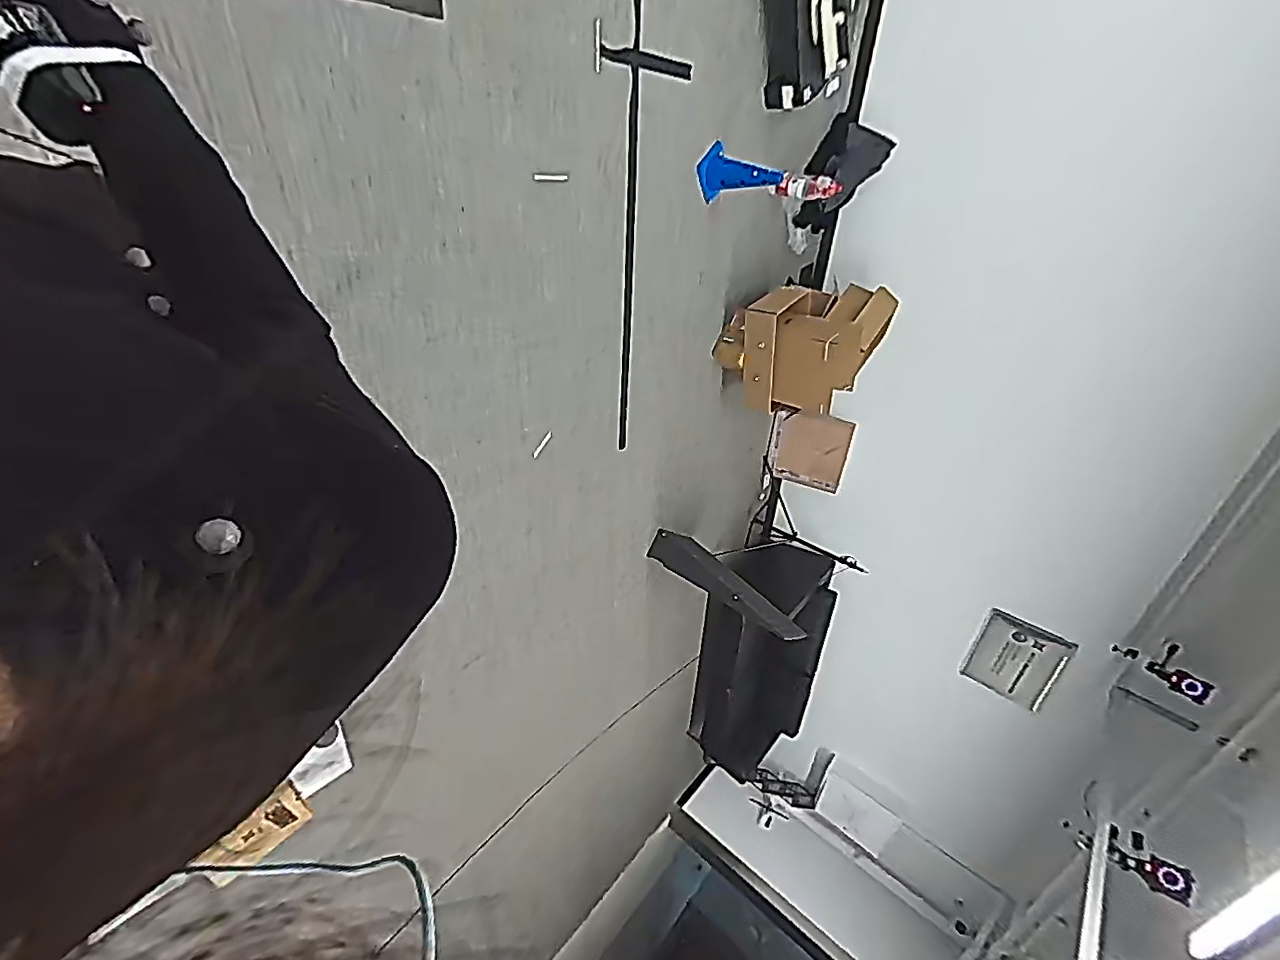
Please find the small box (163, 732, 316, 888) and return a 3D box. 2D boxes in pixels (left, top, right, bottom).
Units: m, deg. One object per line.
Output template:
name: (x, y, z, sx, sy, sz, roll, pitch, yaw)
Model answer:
small box: (-0.804, 0.655, 1.091, 0.179, 0.176, 0.168, -33, 136, -38)
